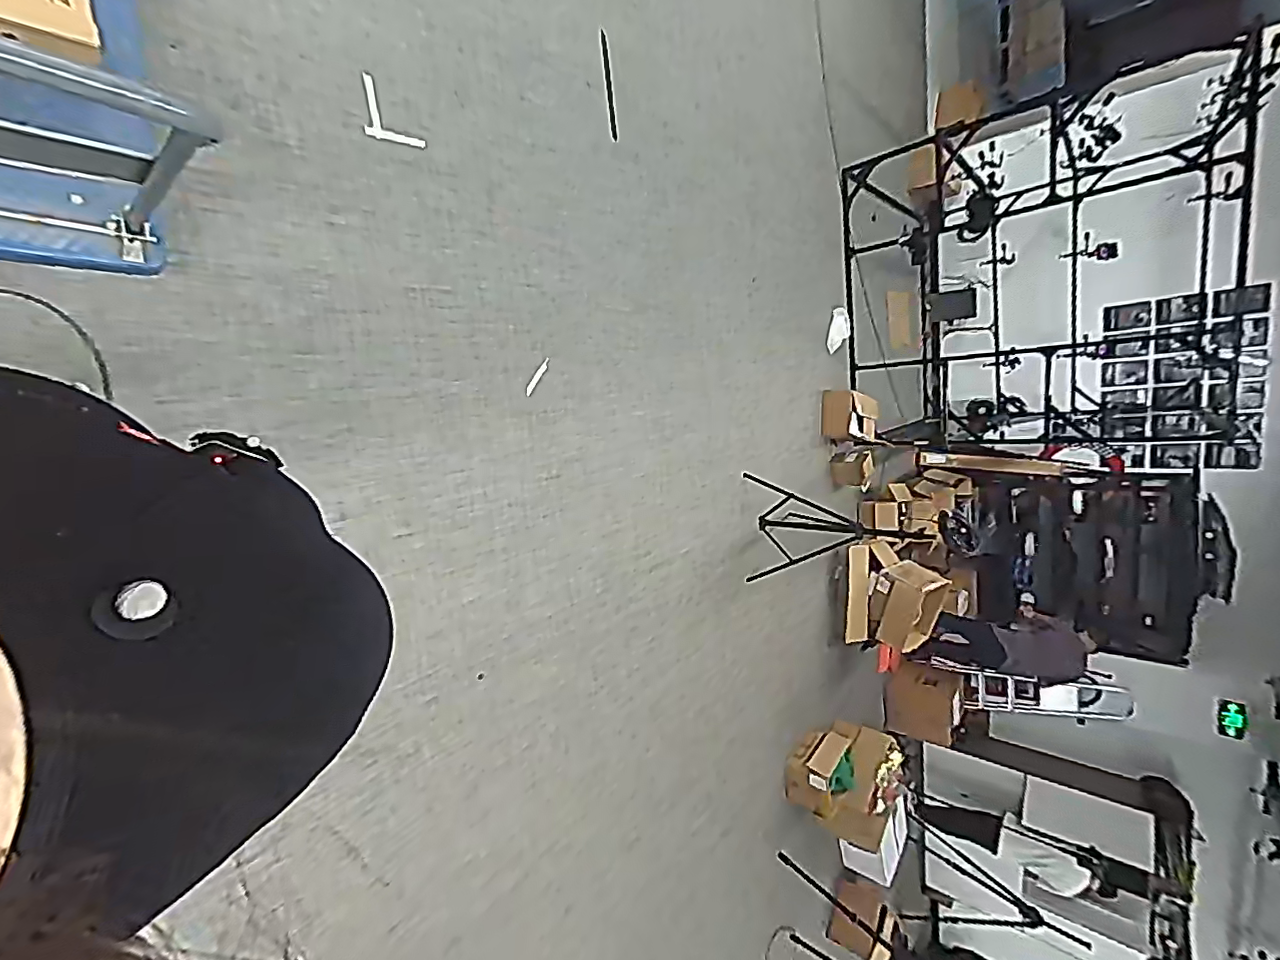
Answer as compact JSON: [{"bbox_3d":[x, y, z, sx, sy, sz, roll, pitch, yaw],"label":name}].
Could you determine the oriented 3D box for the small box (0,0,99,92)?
[{"bbox_3d":[-0.974,-0.738,0.828,0.179,0.176,0.168,-17,104,-47],"label":"small box"}]
